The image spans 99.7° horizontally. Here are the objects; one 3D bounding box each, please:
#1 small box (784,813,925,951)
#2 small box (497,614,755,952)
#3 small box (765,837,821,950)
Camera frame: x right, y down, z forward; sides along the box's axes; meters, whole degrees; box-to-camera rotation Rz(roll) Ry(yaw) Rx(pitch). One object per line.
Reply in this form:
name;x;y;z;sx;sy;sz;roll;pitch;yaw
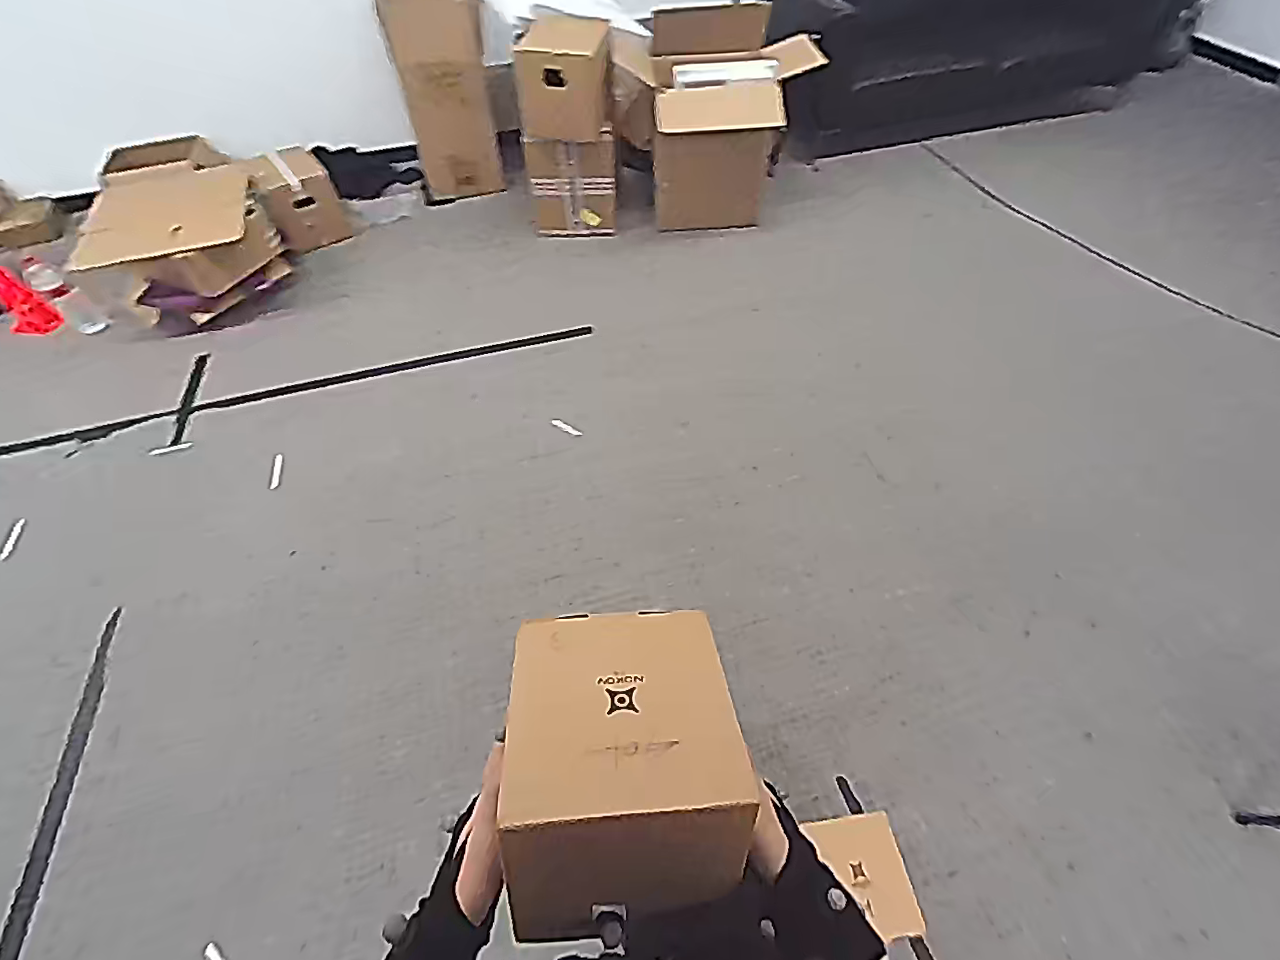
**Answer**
small box;0.374;0.729;0.985;0.168;0.176;0.179;-7;53;-3
small box;-0.019;0.238;0.447;0.168;0.176;0.179;-3;31;-7
small box;0.371;0.831;1.114;0.168;0.176;0.179;-9;53;-5
